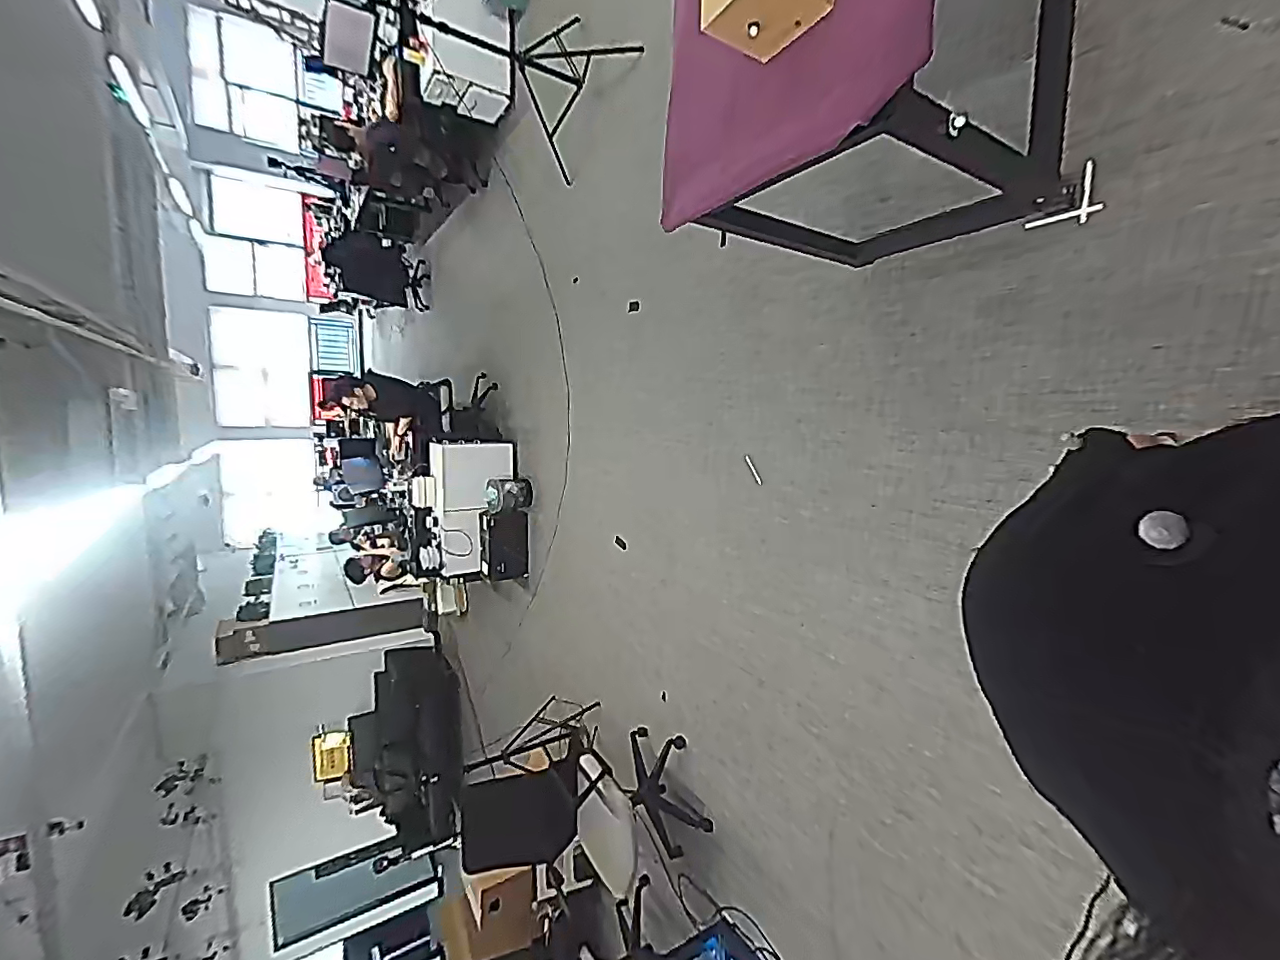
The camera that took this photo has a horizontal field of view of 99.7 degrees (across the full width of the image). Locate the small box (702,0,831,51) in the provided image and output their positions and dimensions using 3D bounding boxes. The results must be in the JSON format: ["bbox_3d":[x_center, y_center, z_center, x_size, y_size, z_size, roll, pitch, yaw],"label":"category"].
[{"bbox_3d":[0.226,-0.906,0.953,0.168,0.176,0.179,6,97,57],"label":"small box"}]
